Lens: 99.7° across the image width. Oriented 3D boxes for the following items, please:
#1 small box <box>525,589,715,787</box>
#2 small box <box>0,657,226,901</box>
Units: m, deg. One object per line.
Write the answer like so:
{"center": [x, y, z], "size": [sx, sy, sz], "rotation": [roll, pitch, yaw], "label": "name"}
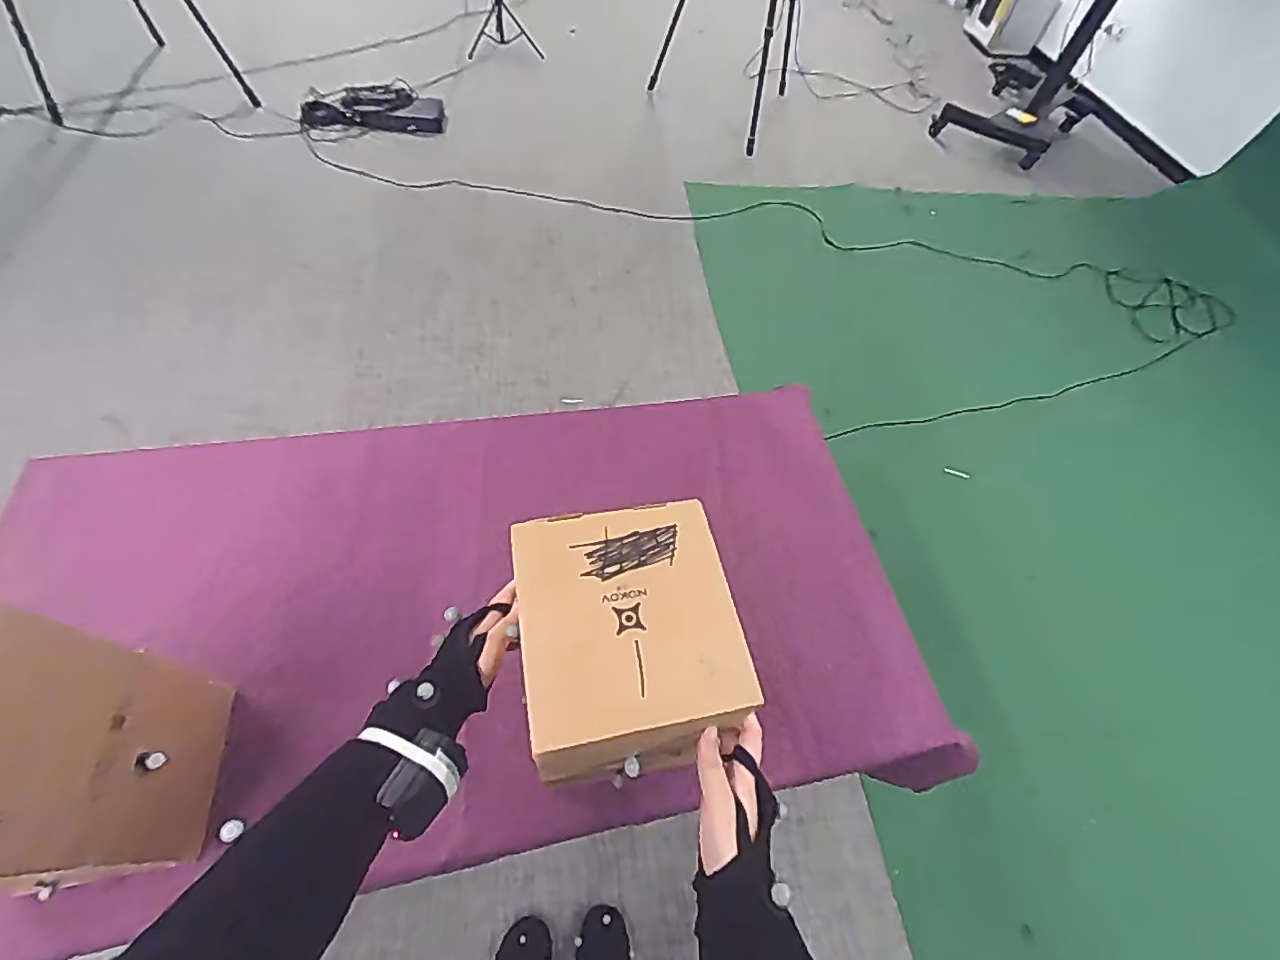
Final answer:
{"center": [-0.031, 0.240, 0.613], "size": [0.179, 0.176, 0.168], "rotation": [-5, 59, -10], "label": "small box"}
{"center": [-0.542, 0.289, 0.521], "size": [0.168, 0.176, 0.179], "rotation": [-5, 59, -11], "label": "small box"}
